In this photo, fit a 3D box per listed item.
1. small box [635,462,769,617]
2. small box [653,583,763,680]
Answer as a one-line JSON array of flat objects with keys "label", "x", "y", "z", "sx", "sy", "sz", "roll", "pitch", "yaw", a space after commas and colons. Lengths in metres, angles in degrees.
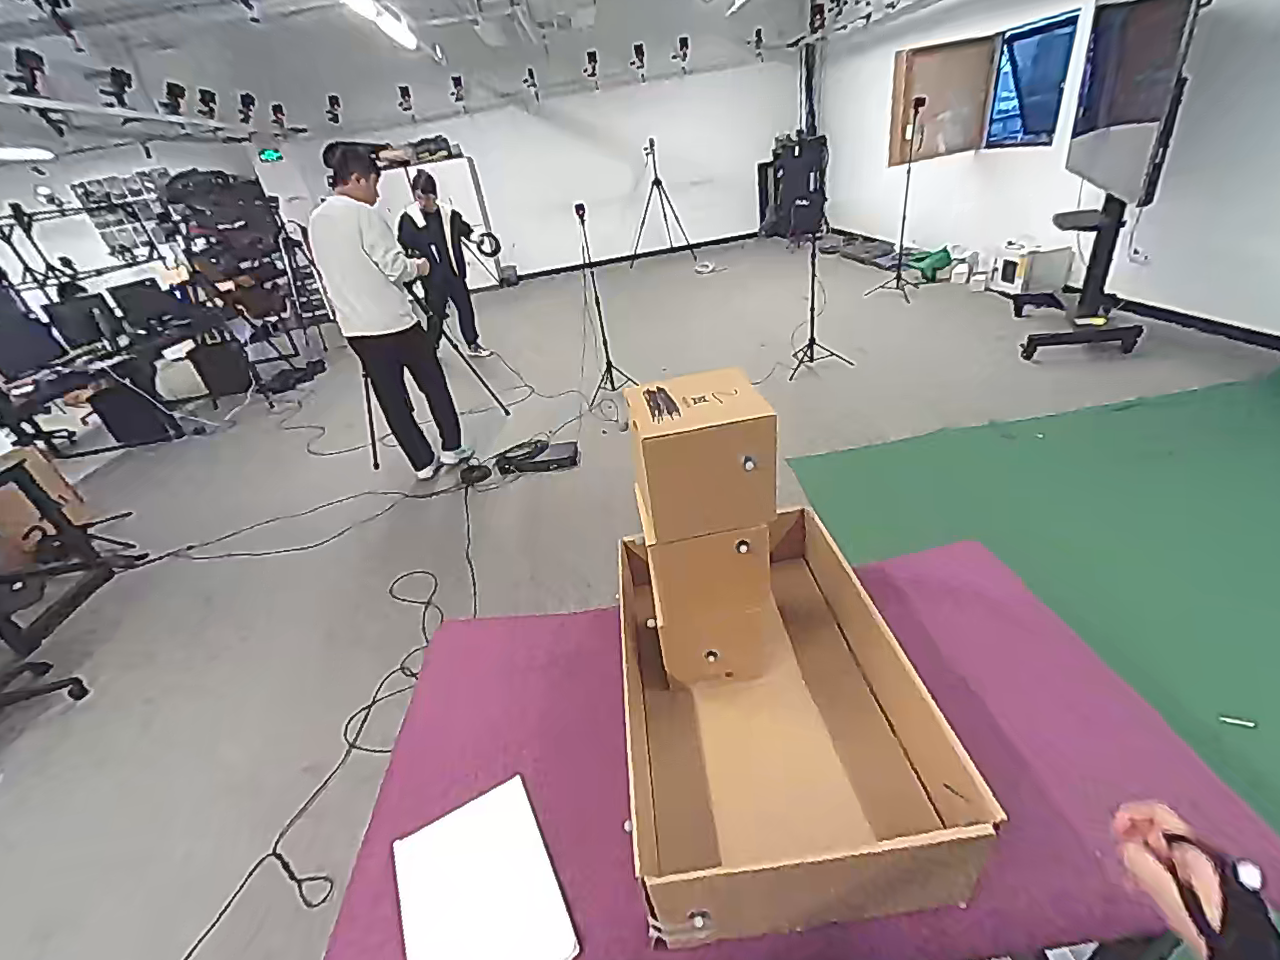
[{"label": "small box", "x": 0.097, "y": 0.096, "z": 0.859, "sx": 0.179, "sy": 0.176, "sz": 0.168, "roll": -11, "pitch": 33, "yaw": -1}, {"label": "small box", "x": 0.116, "y": 0.229, "z": 0.948, "sx": 0.168, "sy": 0.176, "sz": 0.179, "roll": -9, "pitch": 33, "yaw": 1}]
